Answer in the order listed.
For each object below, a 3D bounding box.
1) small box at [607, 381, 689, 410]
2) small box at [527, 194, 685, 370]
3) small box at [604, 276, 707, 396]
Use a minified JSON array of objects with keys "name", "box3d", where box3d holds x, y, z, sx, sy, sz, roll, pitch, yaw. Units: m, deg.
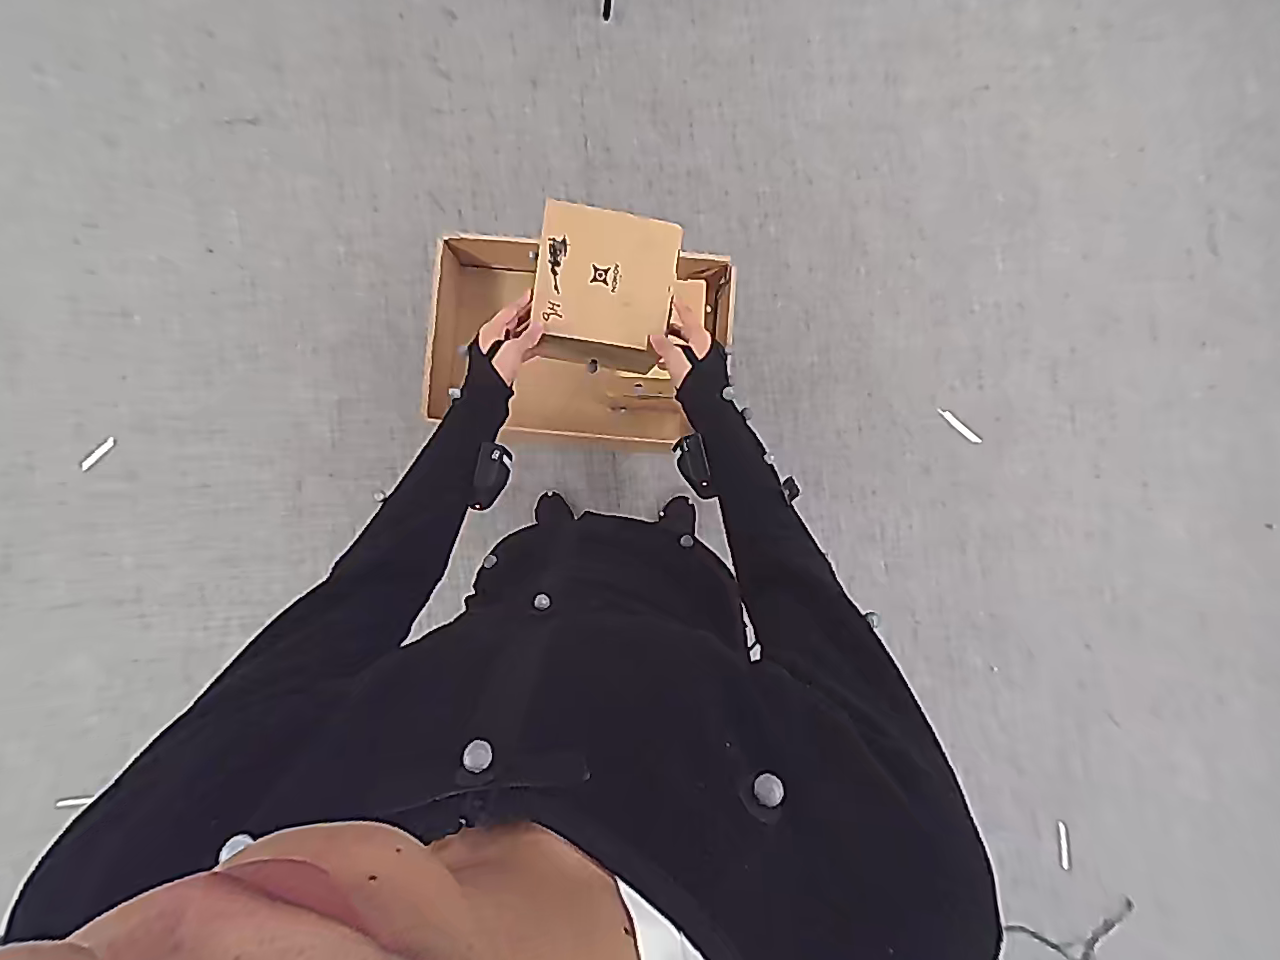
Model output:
[{"name":"small box","box3d":[0.019,-0.247,1.142,0.168,0.176,0.179,2,87,-2]},{"name":"small box","box3d":[-0.052,-0.253,0.738,0.179,0.176,0.168,8,91,-8]},{"name":"small box","box3d":[0.025,-0.254,0.980,0.168,0.176,0.179,2,87,-2]}]
